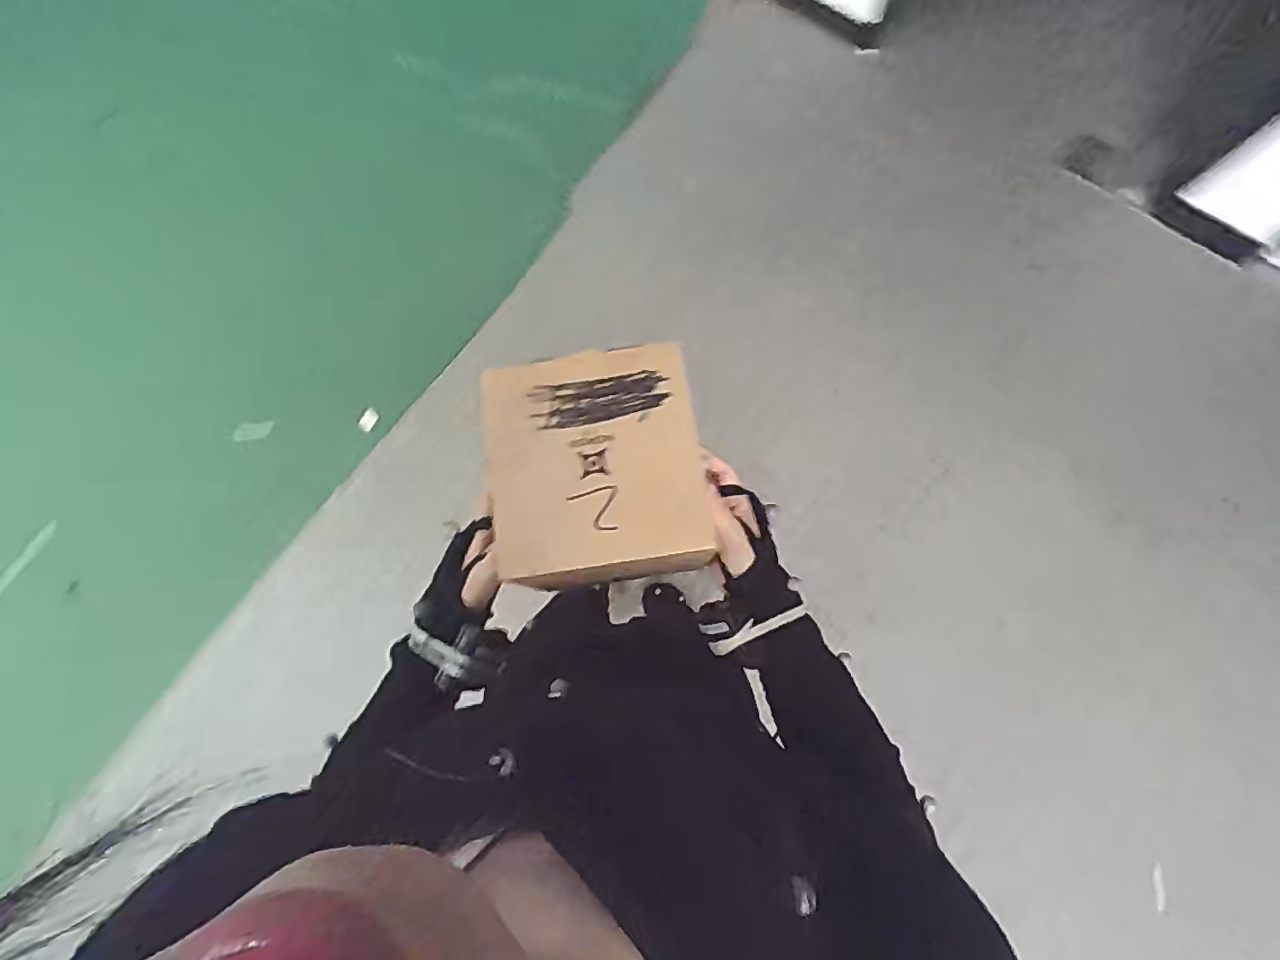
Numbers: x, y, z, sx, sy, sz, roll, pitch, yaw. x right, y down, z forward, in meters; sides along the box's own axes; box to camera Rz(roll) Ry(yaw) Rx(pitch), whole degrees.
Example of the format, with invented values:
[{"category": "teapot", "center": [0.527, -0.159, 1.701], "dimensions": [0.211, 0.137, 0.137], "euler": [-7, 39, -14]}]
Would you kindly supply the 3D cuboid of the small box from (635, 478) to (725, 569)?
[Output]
[{"category": "small box", "center": [0.109, 0.119, 1.433], "dimensions": [0.168, 0.176, 0.179], "euler": [33, 86, 8]}]
